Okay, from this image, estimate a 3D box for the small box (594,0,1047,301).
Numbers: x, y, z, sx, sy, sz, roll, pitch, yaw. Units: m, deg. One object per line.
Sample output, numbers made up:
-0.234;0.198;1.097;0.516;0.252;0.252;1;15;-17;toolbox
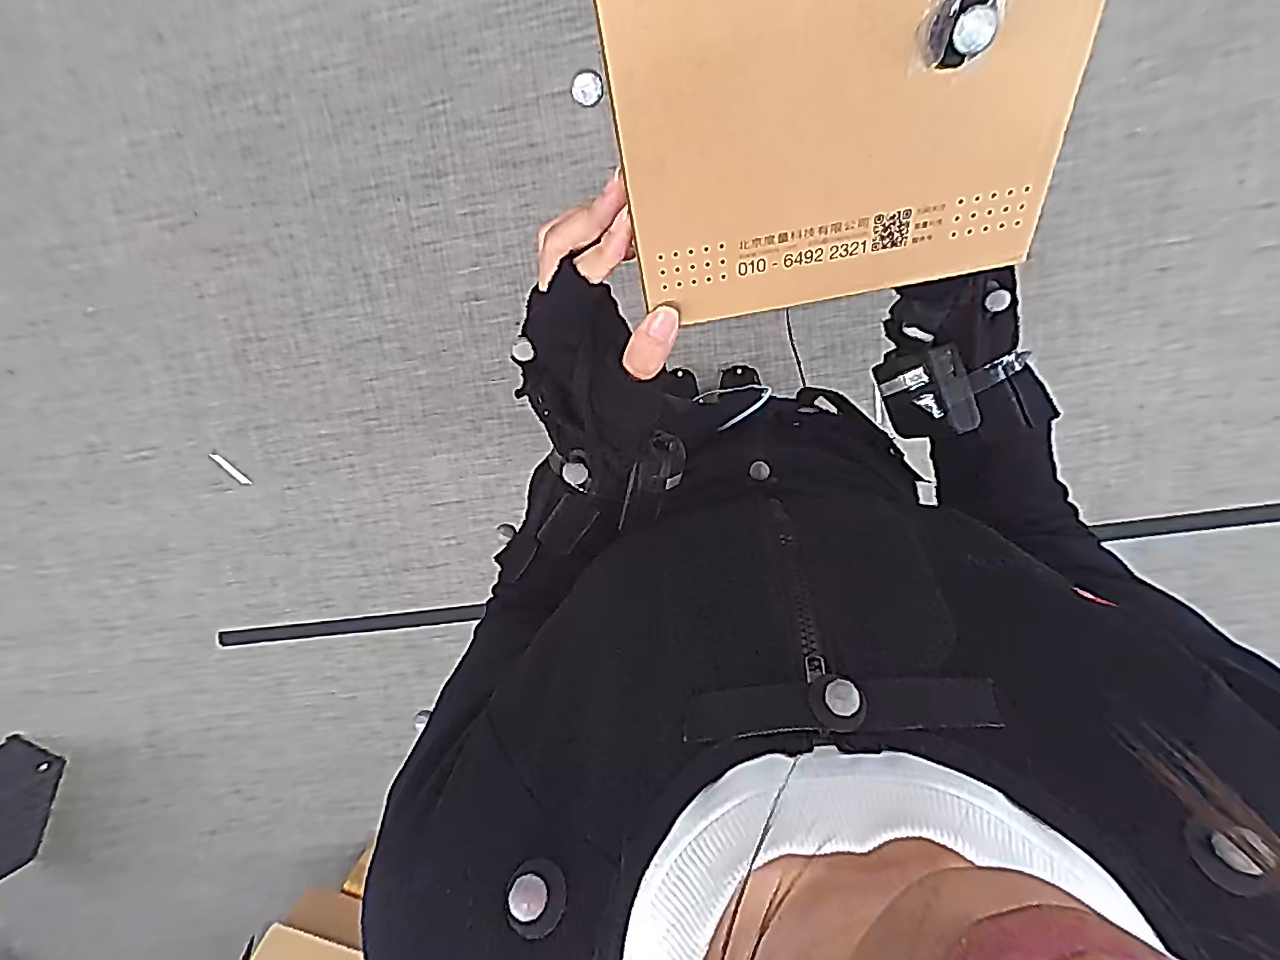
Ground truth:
0.070;-0.201;0.267;0.168;0.179;0.176;-8;131;5;small box
